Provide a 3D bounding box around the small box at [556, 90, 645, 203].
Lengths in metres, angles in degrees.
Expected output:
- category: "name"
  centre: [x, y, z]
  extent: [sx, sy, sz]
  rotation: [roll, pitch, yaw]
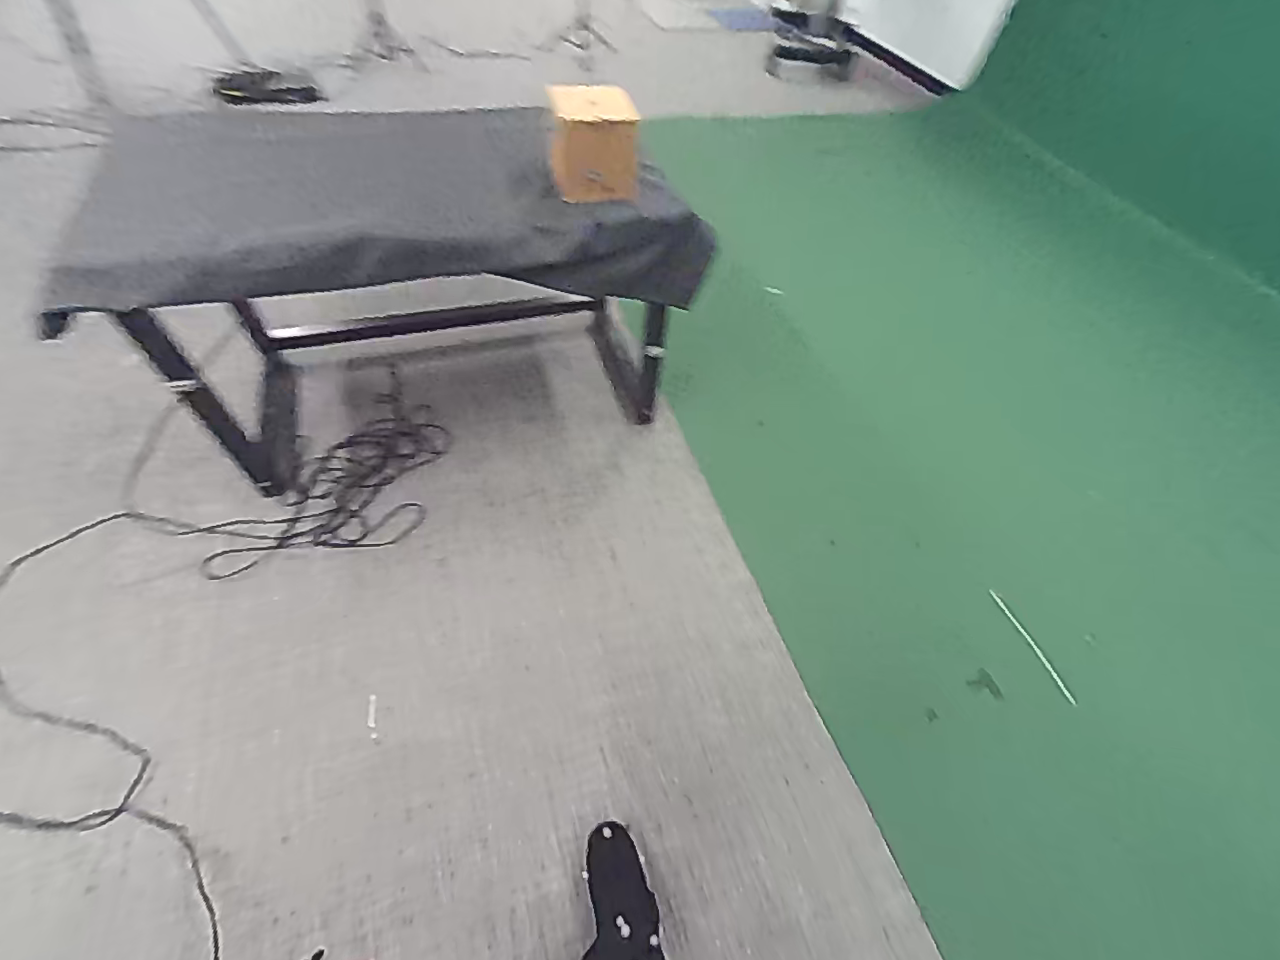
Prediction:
- category: "small box"
  centre: [-0.095, -0.747, 1.215]
  extent: [0.168, 0.176, 0.179]
  rotation: [-9, 55, -12]
